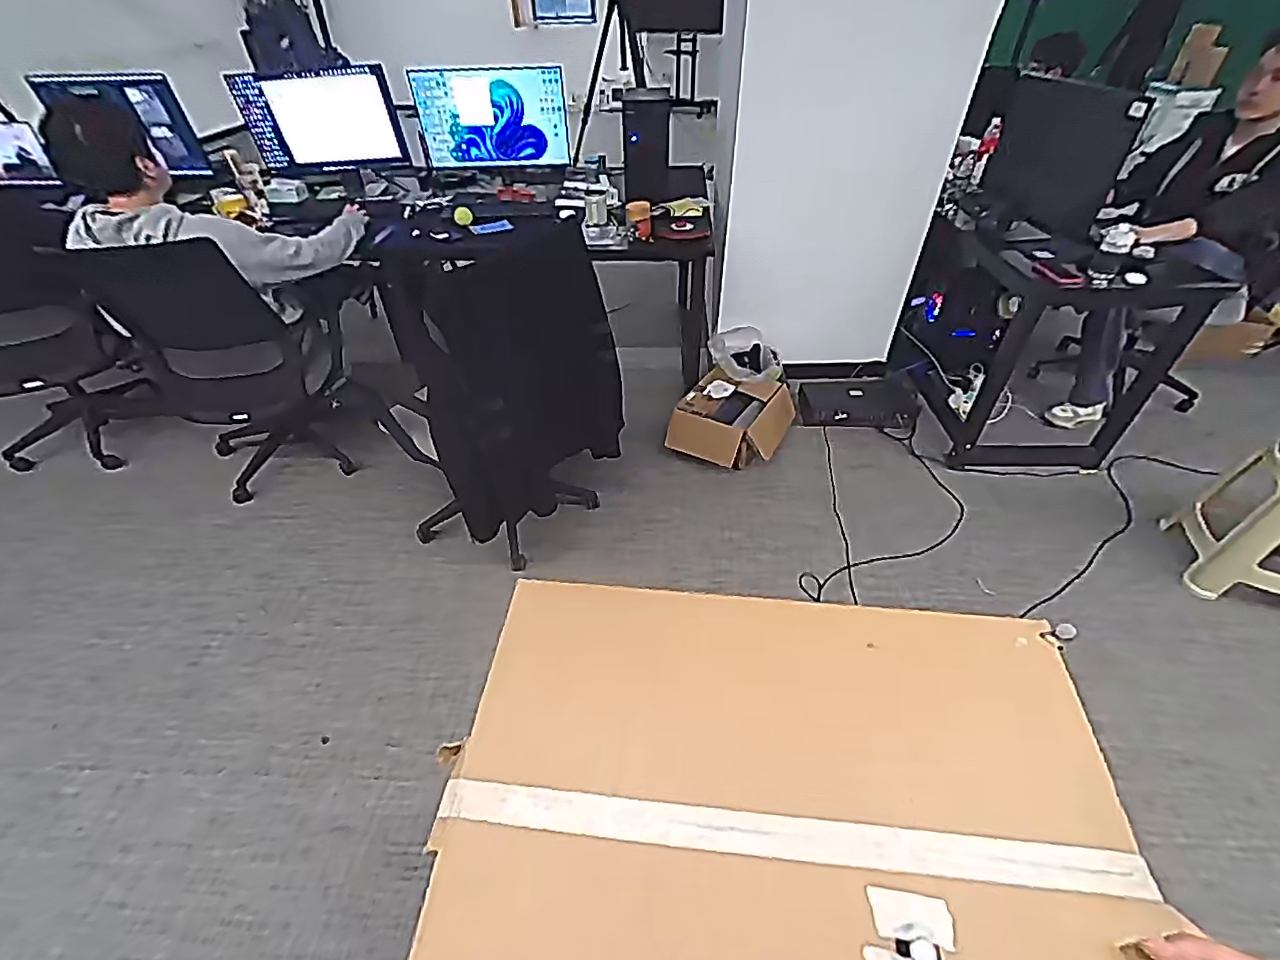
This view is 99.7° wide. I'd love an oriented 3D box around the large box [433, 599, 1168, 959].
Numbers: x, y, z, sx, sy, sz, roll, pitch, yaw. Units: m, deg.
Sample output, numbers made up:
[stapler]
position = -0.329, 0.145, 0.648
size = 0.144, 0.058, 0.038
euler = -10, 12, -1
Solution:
[large box]
position = 0.090, 0.318, 0.440
size = 0.408, 0.320, 0.320
euler = 4, 51, 5
